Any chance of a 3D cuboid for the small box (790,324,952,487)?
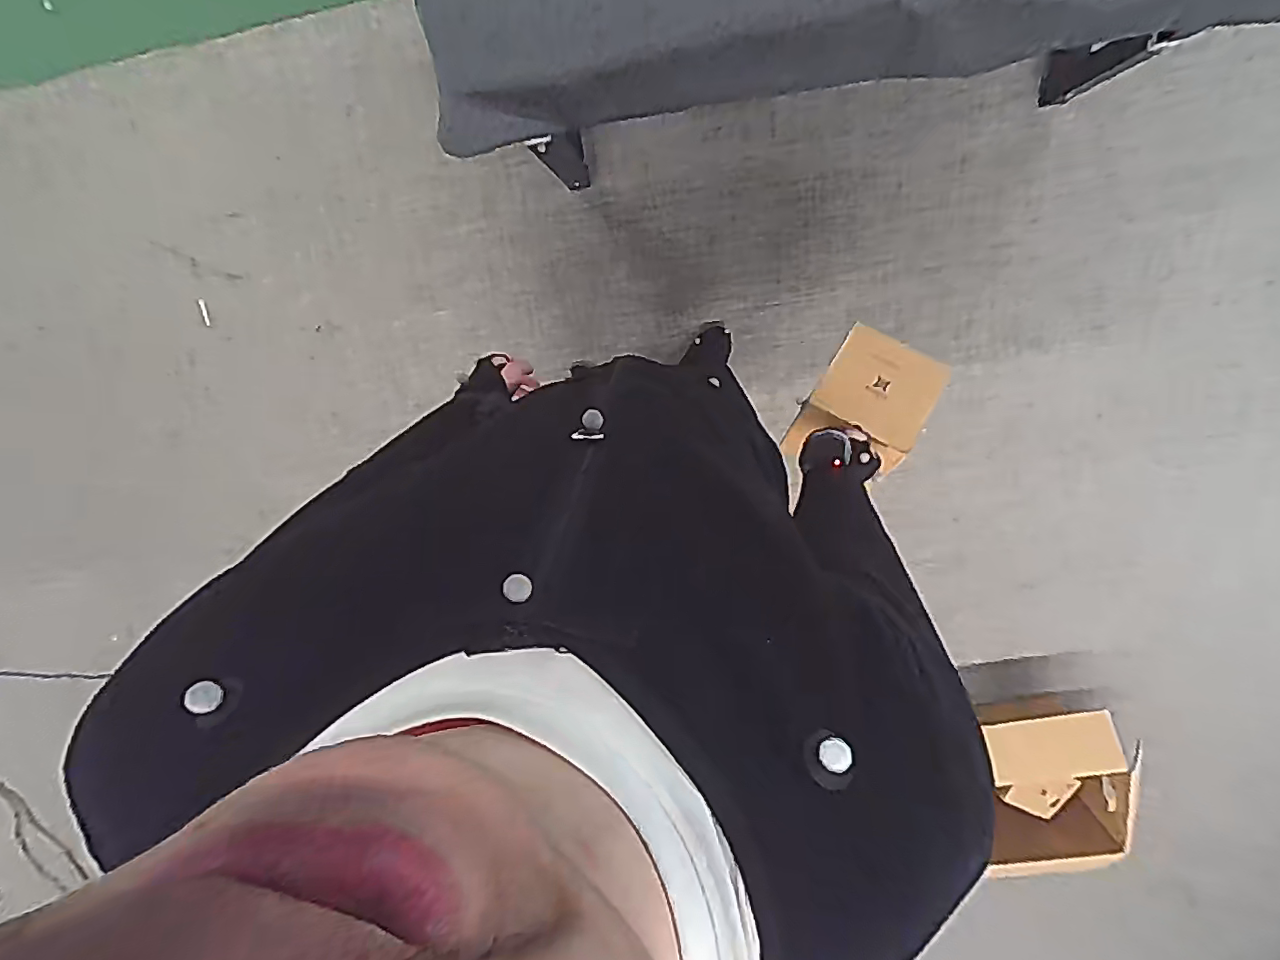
[{"bbox_3d":[0.367,-0.114,0.895,0.168,0.176,0.179,31,72,10],"label":"small box"}]
